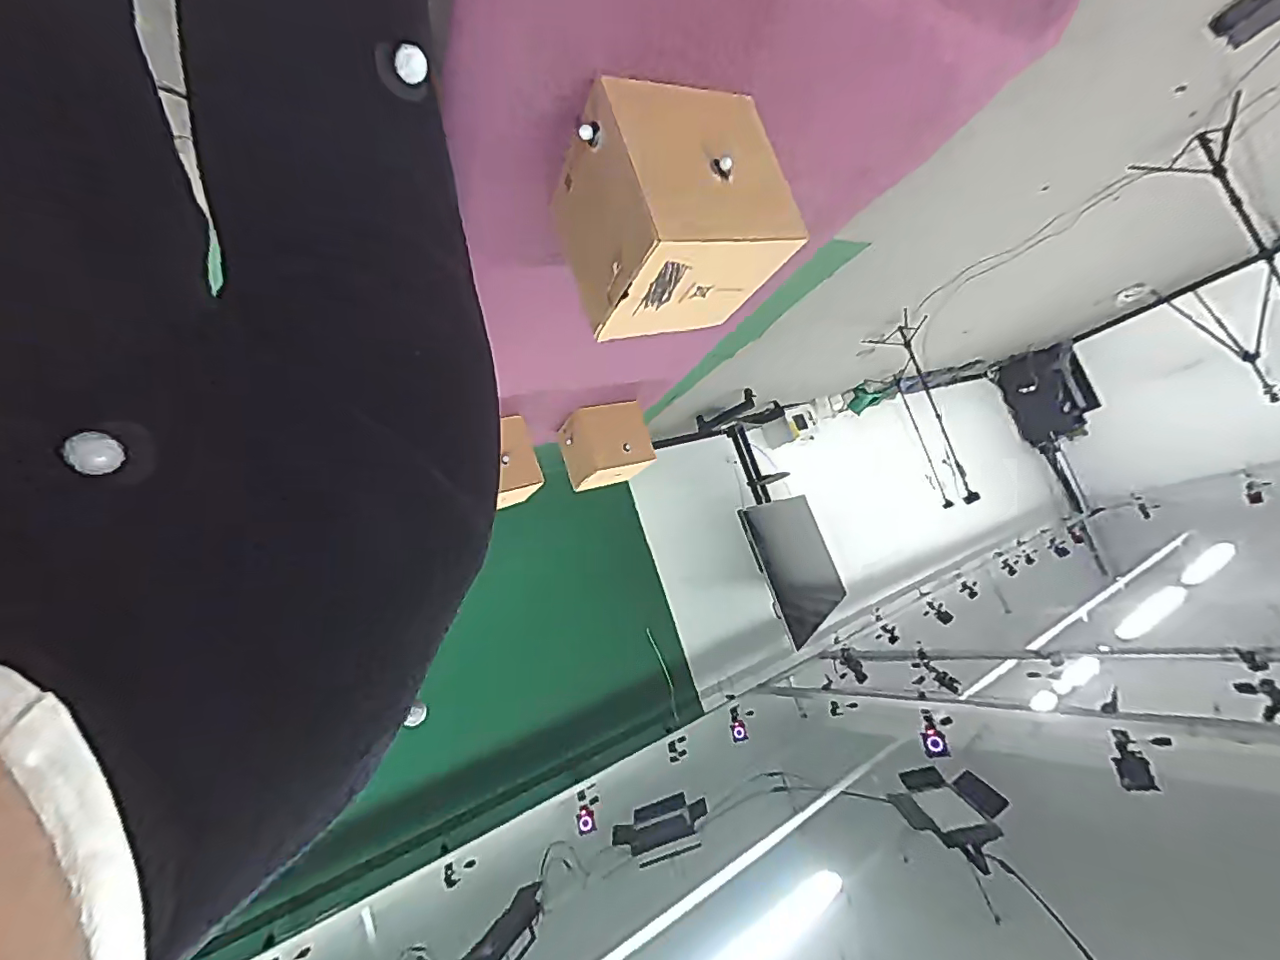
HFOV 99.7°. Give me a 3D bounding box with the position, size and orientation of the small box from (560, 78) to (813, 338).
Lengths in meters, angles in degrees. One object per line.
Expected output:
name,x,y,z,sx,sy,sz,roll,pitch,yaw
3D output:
small box,0.035,-0.271,0.559,0.179,0.176,0.168,-16,171,-27

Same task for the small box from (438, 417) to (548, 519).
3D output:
small box,-0.339,-0.030,1.234,0.179,0.176,0.168,-17,170,-32

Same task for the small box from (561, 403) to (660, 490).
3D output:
small box,-0.082,-0.090,1.405,0.179,0.176,0.168,-12,167,-31
